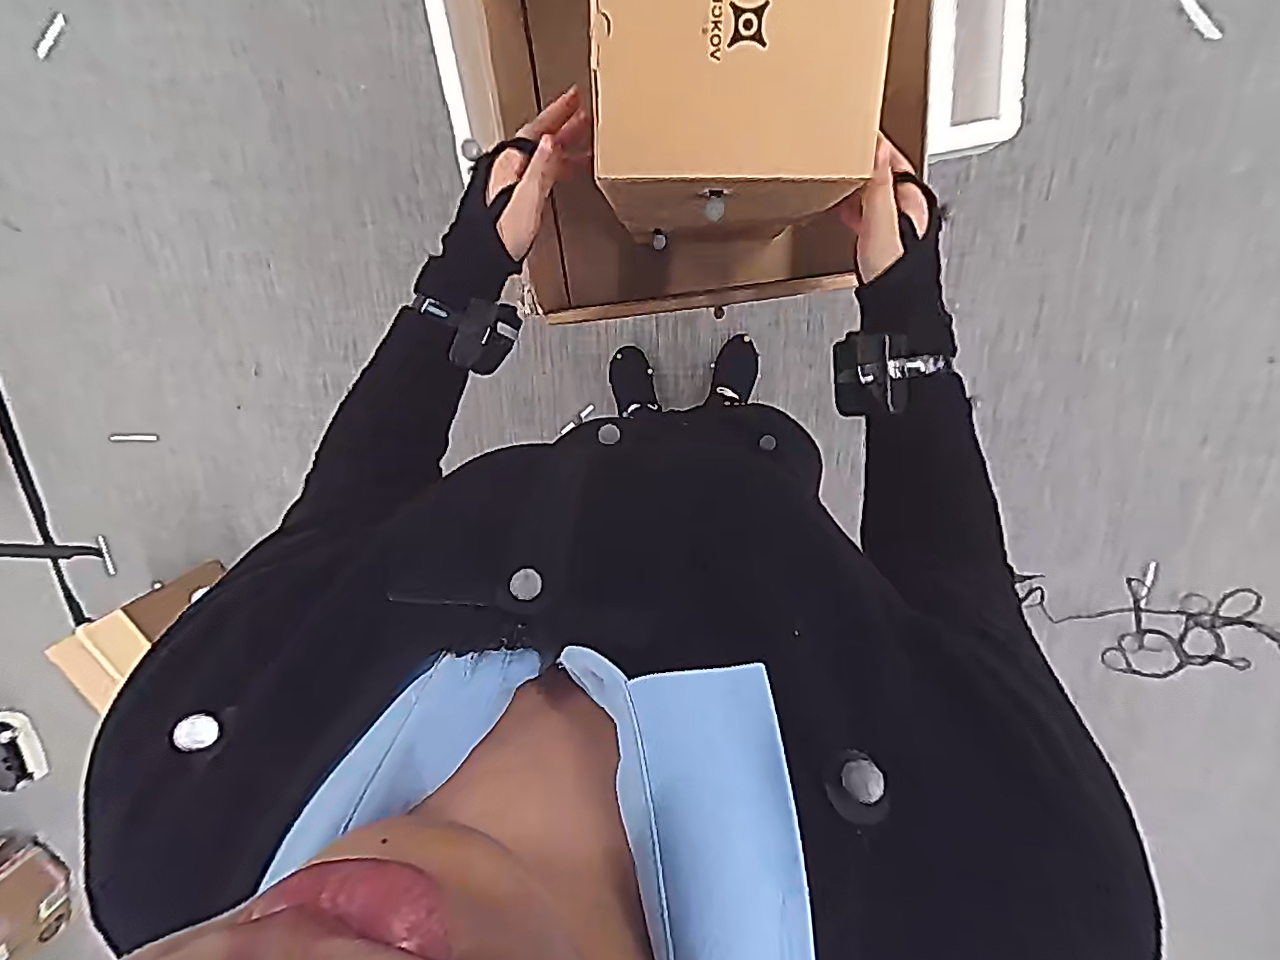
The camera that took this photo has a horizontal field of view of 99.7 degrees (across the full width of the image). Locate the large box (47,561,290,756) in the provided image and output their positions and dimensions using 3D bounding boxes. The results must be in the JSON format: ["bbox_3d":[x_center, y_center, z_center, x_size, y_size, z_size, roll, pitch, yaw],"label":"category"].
[{"bbox_3d":[-1.392,0.527,1.637,0.320,0.320,0.408,-26,103,13],"label":"large box"}]
